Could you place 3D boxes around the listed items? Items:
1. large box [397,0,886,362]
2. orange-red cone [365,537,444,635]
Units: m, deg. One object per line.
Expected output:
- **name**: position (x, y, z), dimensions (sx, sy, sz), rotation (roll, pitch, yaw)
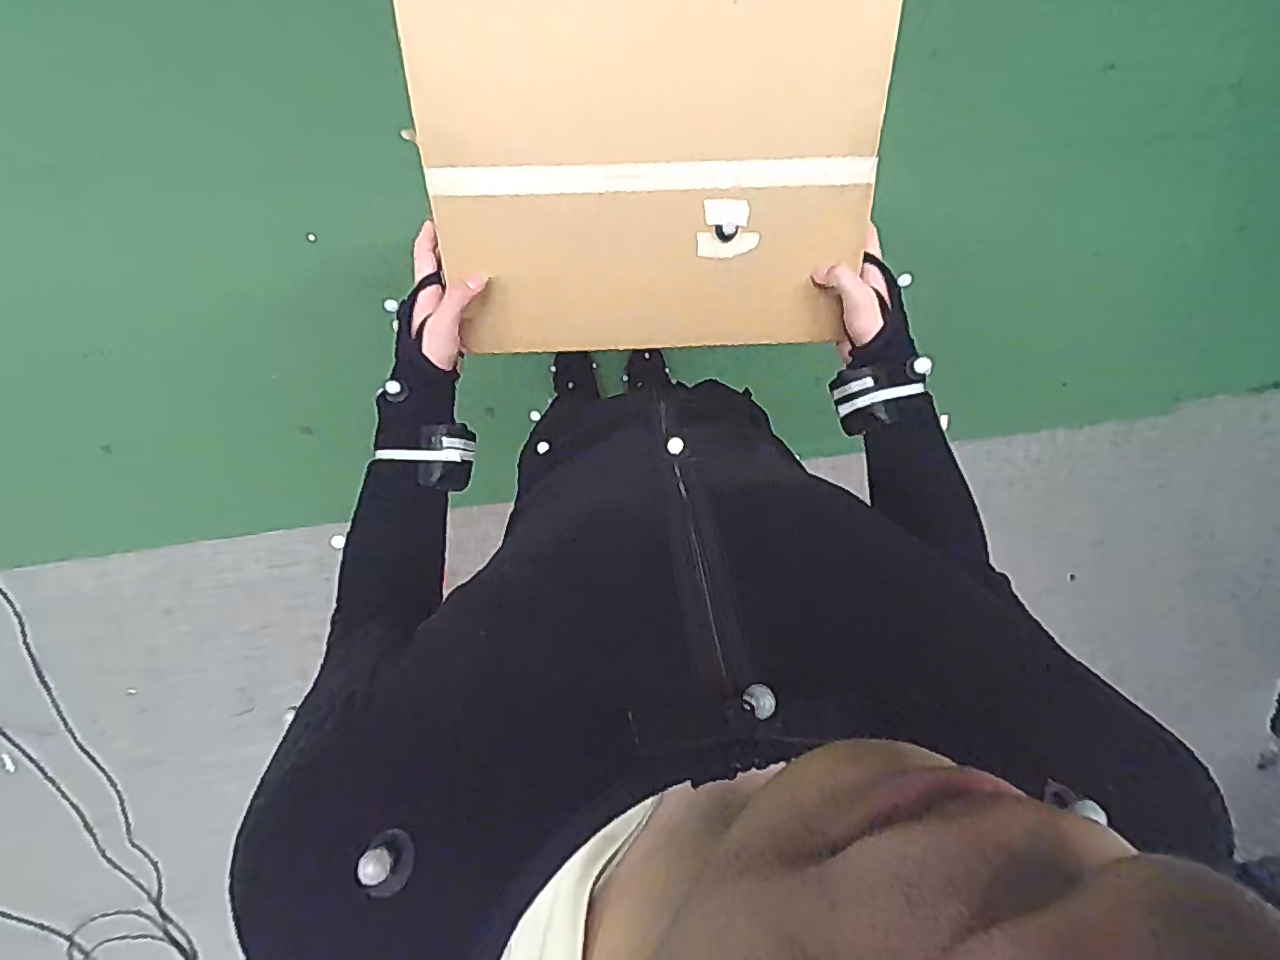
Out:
- **large box**: position (-0.001, -0.340, 0.628), dimensions (0.408, 0.320, 0.320), rotation (-4, 119, -3)
- **orange-red cone**: position (-0.672, 0.312, 1.467), dimensions (0.199, 0.360, 0.198), rotation (0, 106, -8)
